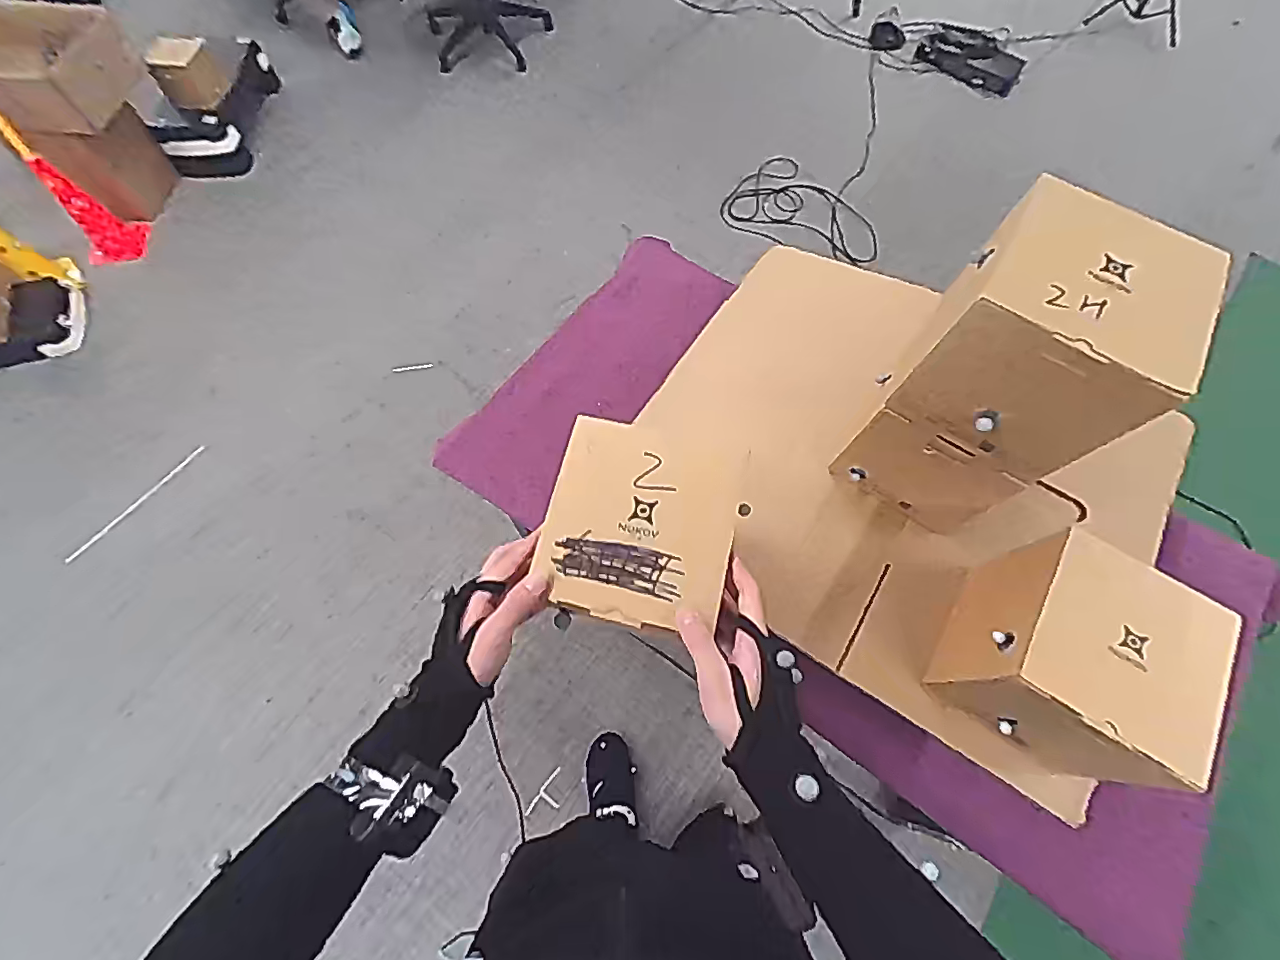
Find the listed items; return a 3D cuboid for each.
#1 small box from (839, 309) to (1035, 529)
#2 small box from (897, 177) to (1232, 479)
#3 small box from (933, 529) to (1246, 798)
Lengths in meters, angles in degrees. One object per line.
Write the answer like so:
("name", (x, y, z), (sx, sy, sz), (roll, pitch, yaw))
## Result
("small box", (0.370, -0.066, 0.660), (0.168, 0.176, 0.179), (32, 69, 10))
("small box", (0.378, -0.132, 0.511), (0.168, 0.176, 0.179), (32, 70, 11))
("small box", (0.443, 0.184, 0.559), (0.168, 0.176, 0.179), (32, 70, 11))
